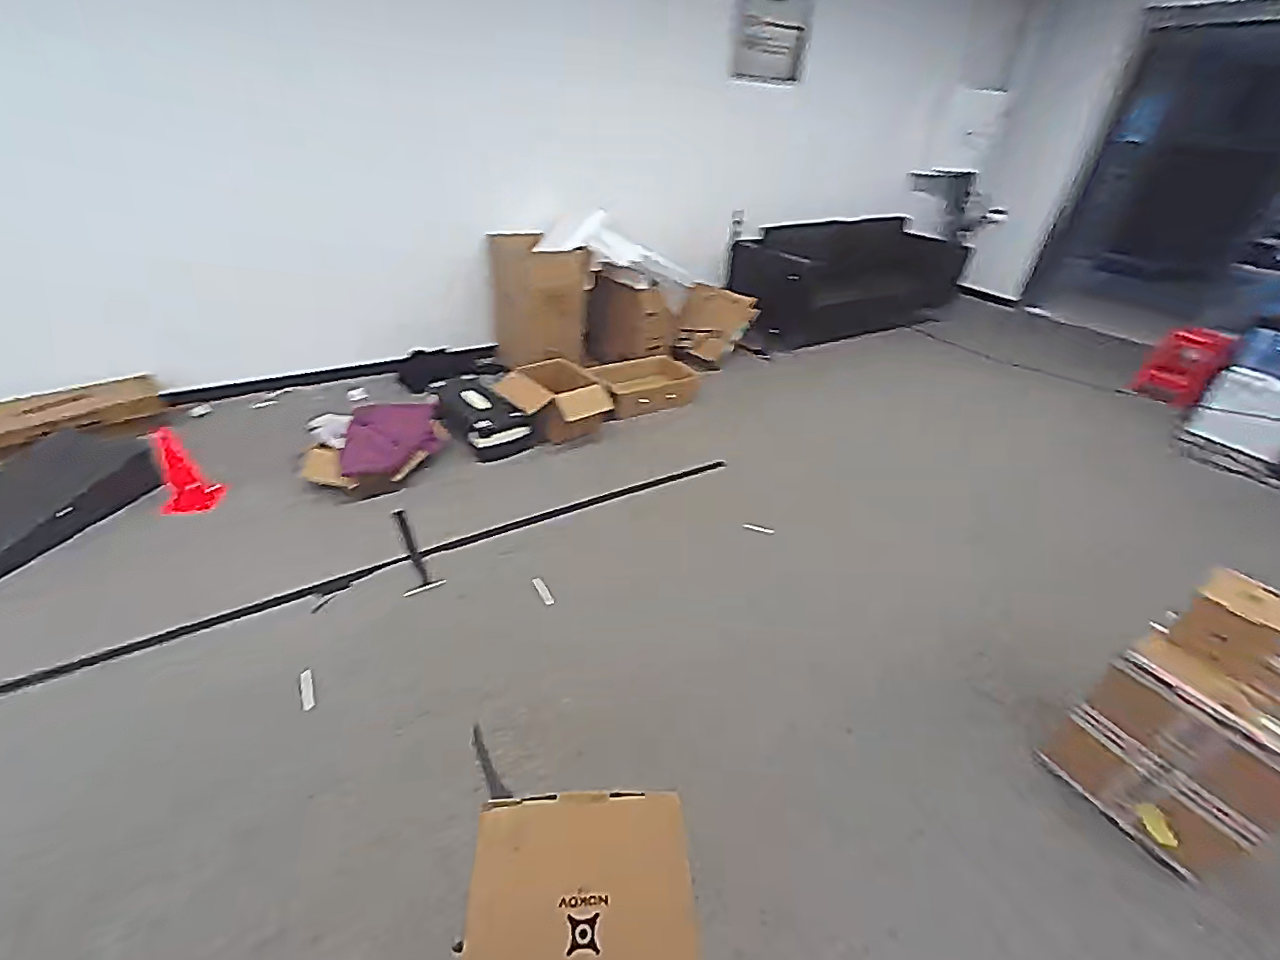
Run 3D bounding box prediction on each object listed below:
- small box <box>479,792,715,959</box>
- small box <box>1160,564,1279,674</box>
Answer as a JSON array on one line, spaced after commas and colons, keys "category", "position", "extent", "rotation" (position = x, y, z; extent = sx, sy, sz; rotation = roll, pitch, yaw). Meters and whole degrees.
[{"category": "small box", "position": [-0.037, 0.380, 0.436], "extent": [0.168, 0.176, 0.179], "rotation": [2, 39, -5]}, {"category": "small box", "position": [1.463, 0.348, 1.353], "extent": [0.179, 0.176, 0.168], "rotation": [-21, 40, -26]}]
